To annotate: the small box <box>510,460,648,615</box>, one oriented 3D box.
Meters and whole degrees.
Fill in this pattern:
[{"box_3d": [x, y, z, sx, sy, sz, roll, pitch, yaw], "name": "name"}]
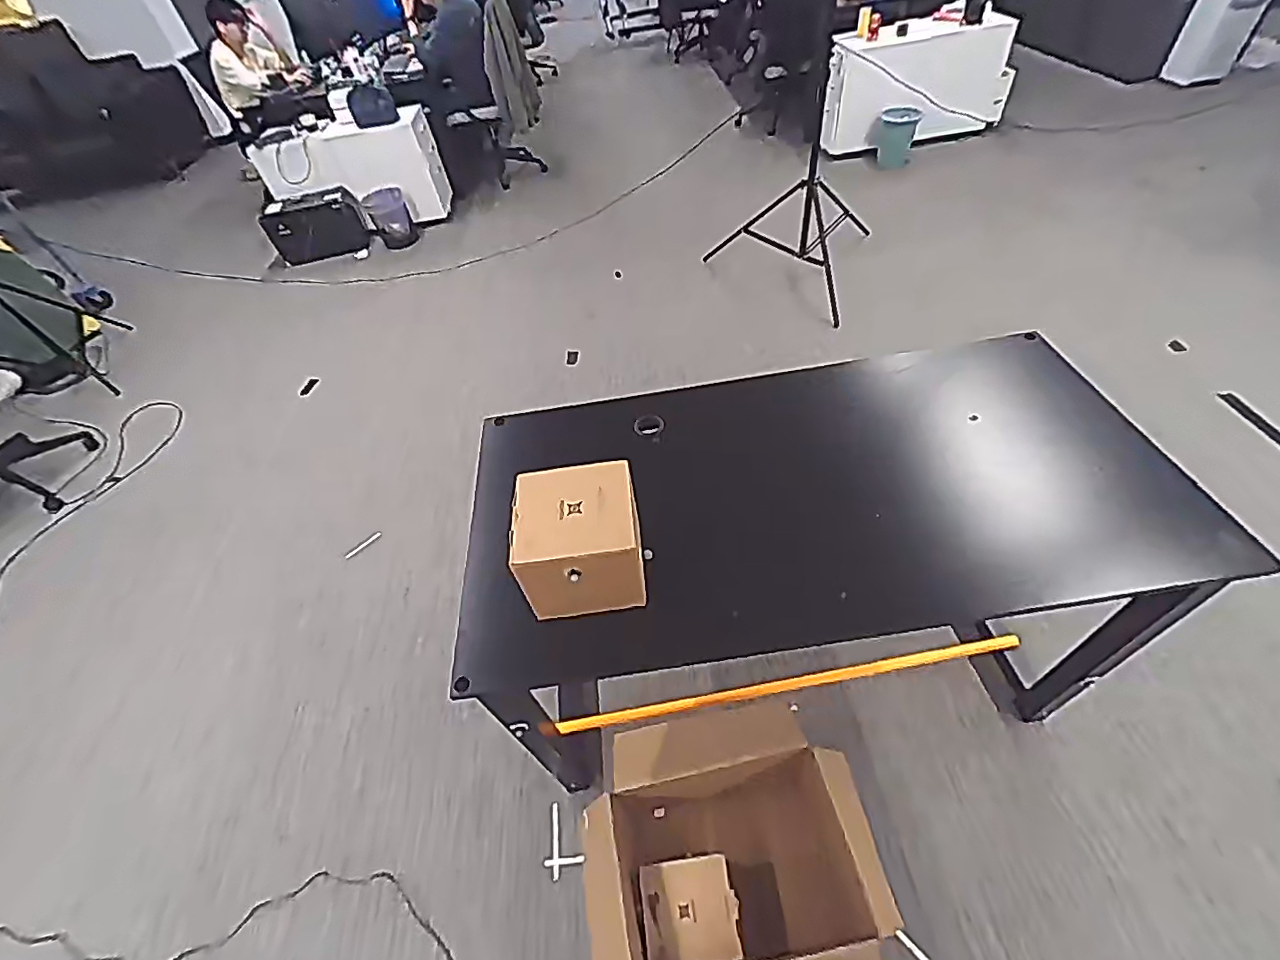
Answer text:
[{"box_3d": [-0.088, 0.094, 0.835, 0.179, 0.176, 0.168, -8, 50, 0], "name": "small box"}]
